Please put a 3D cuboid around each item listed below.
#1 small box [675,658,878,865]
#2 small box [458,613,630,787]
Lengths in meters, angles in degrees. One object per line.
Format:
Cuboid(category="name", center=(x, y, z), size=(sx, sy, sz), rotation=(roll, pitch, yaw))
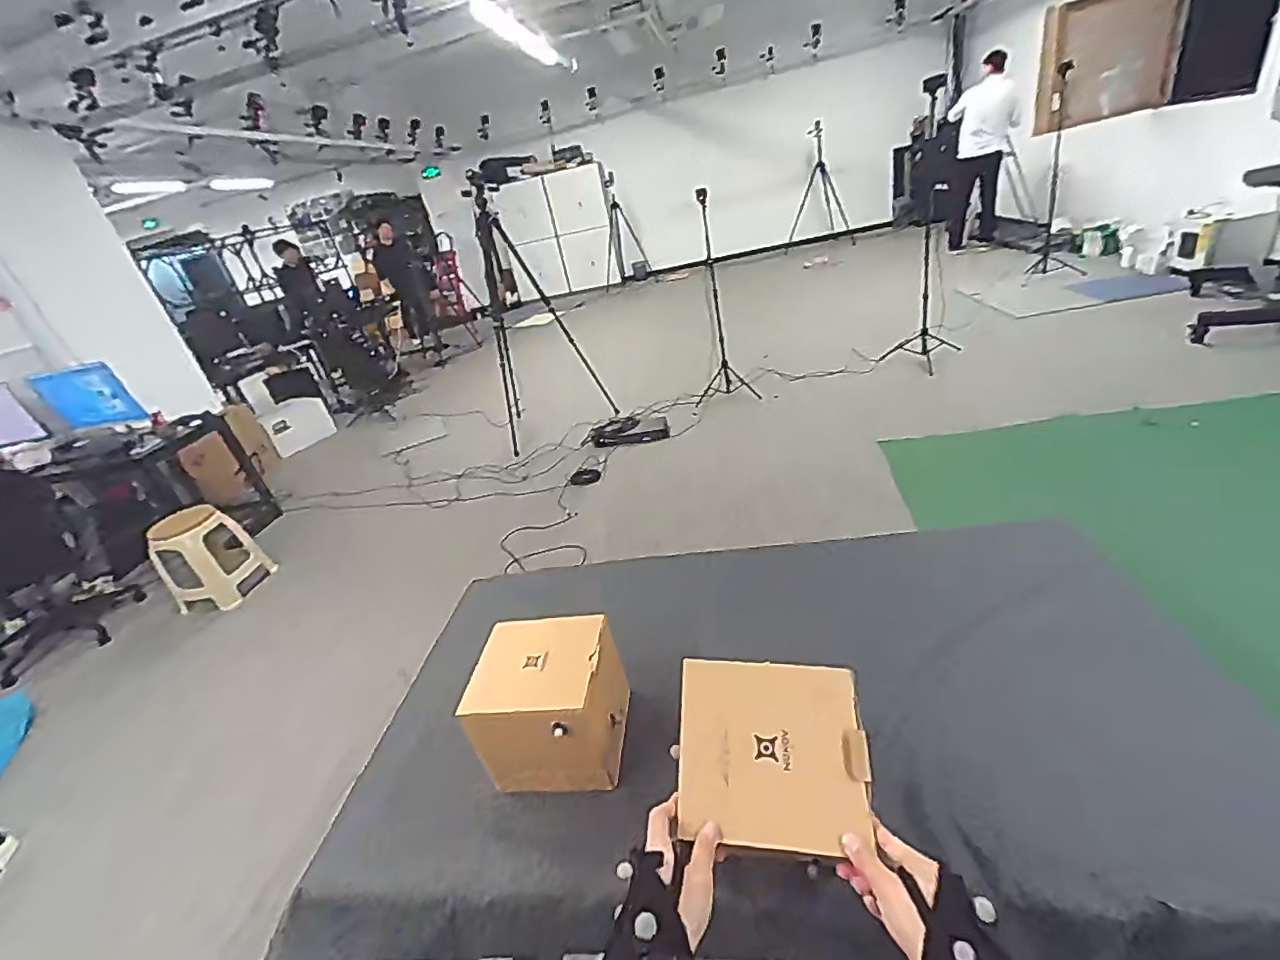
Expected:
Cuboid(category="small box", center=(0.134, 0.304, 0.580), size=(0.179, 0.176, 0.168), rotation=(-1, 52, 9))
Cuboid(category="small box", center=(-0.125, 0.317, 0.779), size=(0.179, 0.176, 0.168), rotation=(-7, 28, 11))
